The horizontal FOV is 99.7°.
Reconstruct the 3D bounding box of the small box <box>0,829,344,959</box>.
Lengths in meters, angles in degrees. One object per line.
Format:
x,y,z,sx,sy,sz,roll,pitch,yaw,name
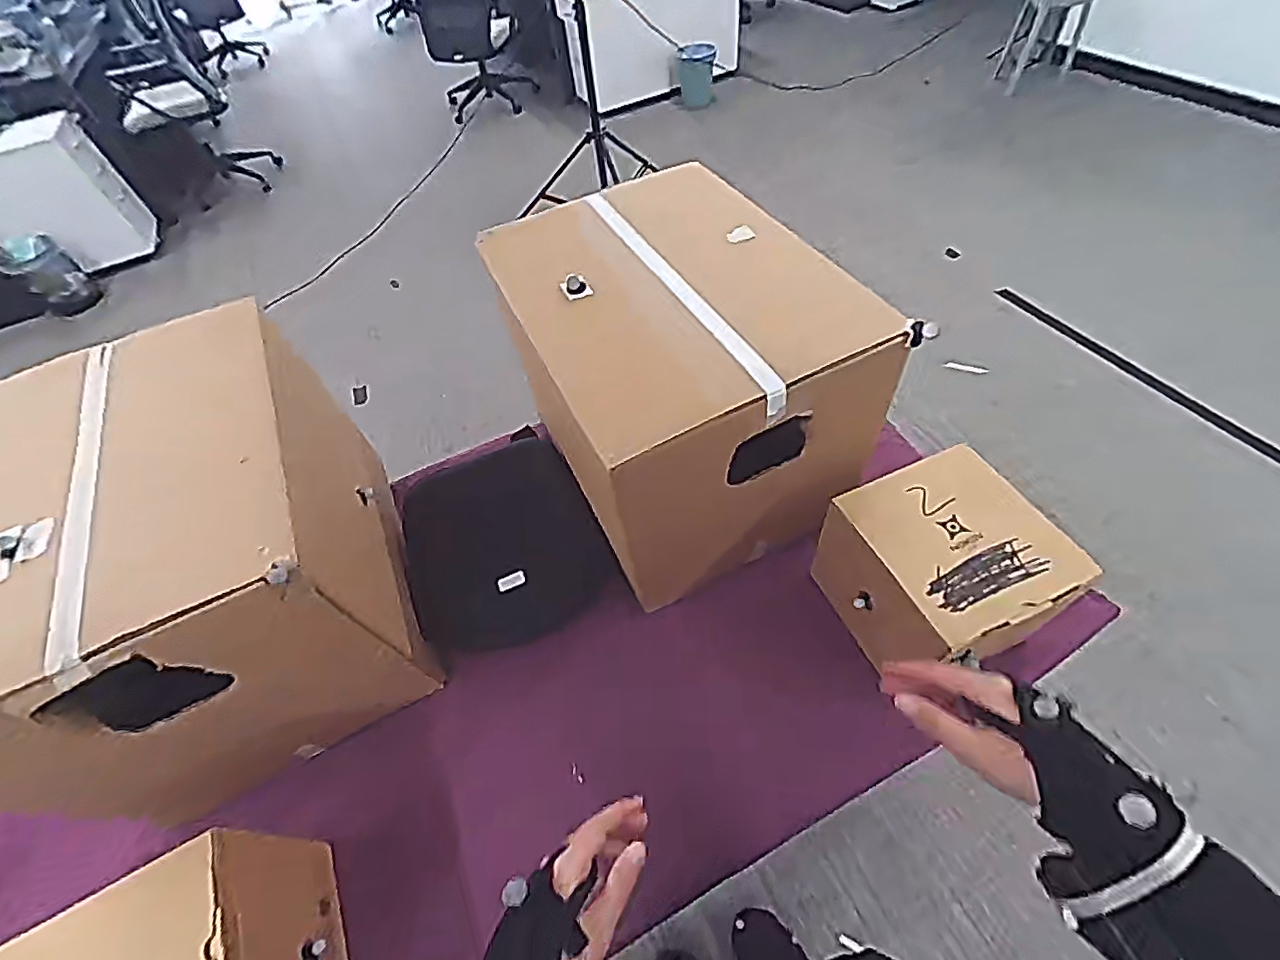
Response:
-0.370,0.422,0.434,0.179,0.176,0.168,-27,54,-14,small box

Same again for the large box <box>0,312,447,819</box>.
-0.468,0.089,0.610,0.320,0.320,0.408,-27,57,-12,large box
